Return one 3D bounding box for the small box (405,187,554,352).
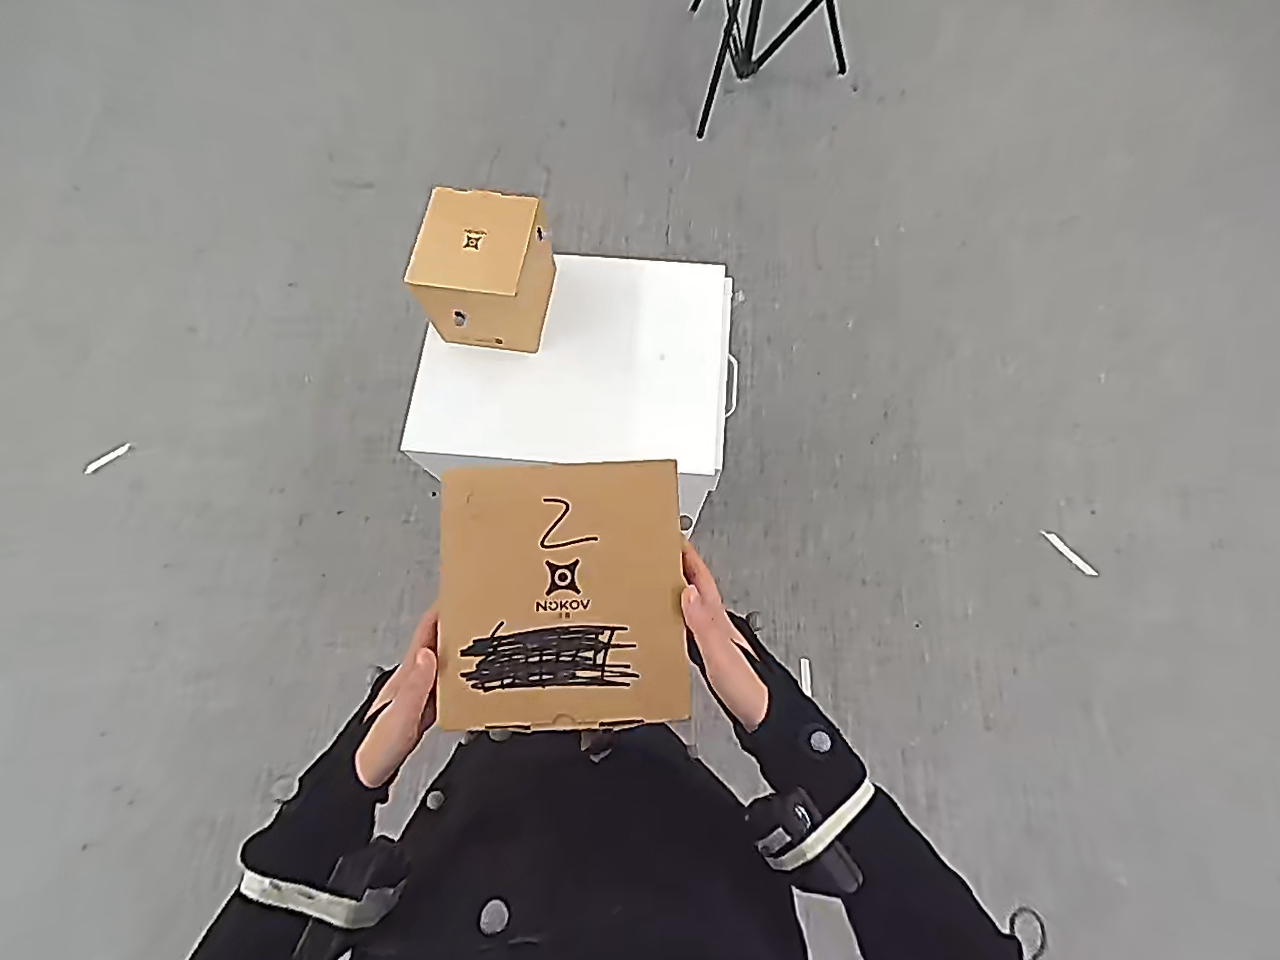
[{"bbox_3d":[-0.242,-0.326,0.864,0.168,0.176,0.179,8,73,3],"label":"small box"}]
